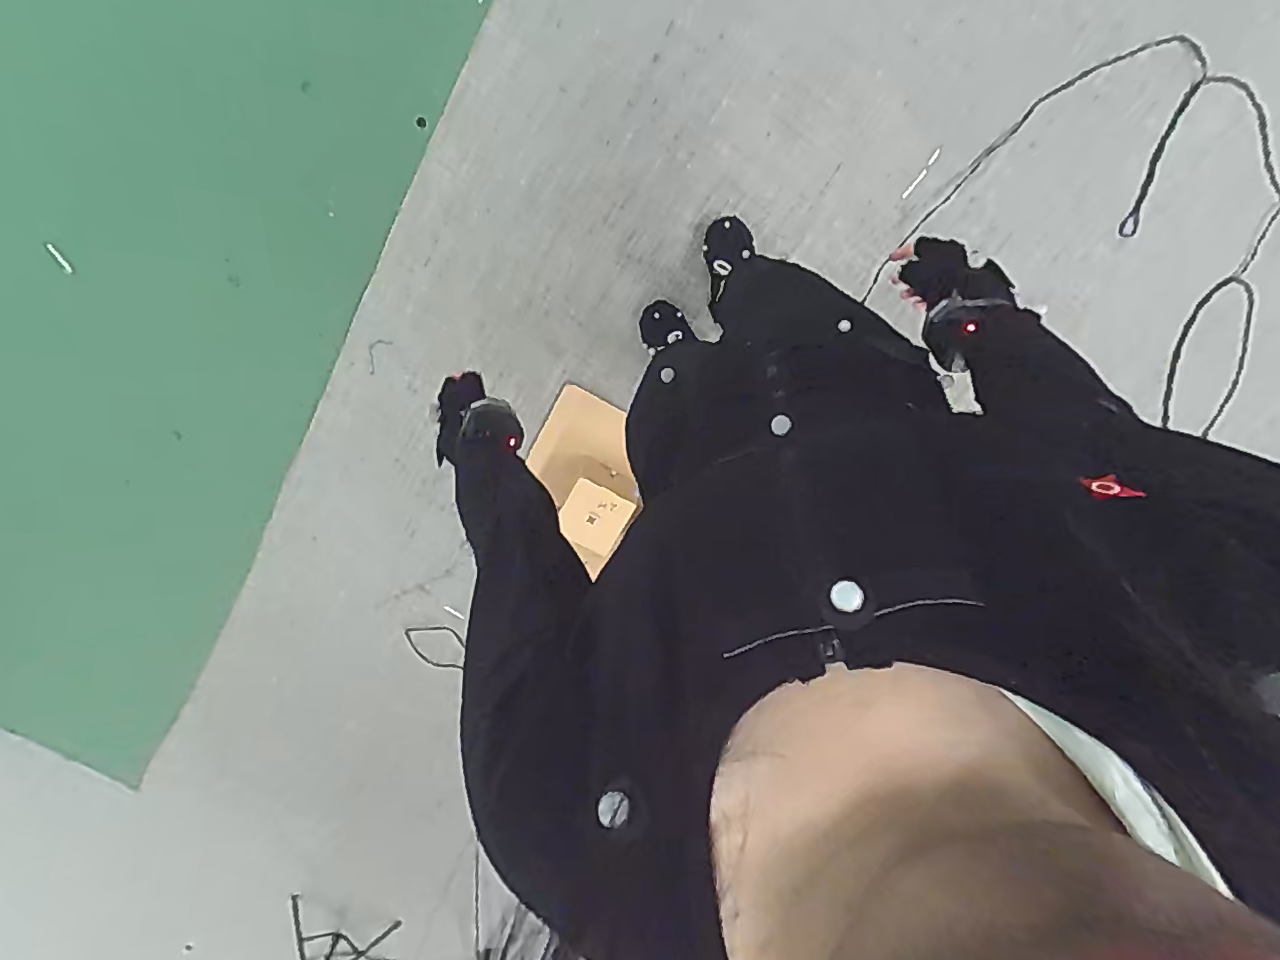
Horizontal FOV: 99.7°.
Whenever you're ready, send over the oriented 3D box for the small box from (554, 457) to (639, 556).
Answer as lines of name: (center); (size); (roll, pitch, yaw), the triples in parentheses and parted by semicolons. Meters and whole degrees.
small box: (-0.111, 0.066, 1.457); (0.168, 0.176, 0.179); (28, 108, -10)
